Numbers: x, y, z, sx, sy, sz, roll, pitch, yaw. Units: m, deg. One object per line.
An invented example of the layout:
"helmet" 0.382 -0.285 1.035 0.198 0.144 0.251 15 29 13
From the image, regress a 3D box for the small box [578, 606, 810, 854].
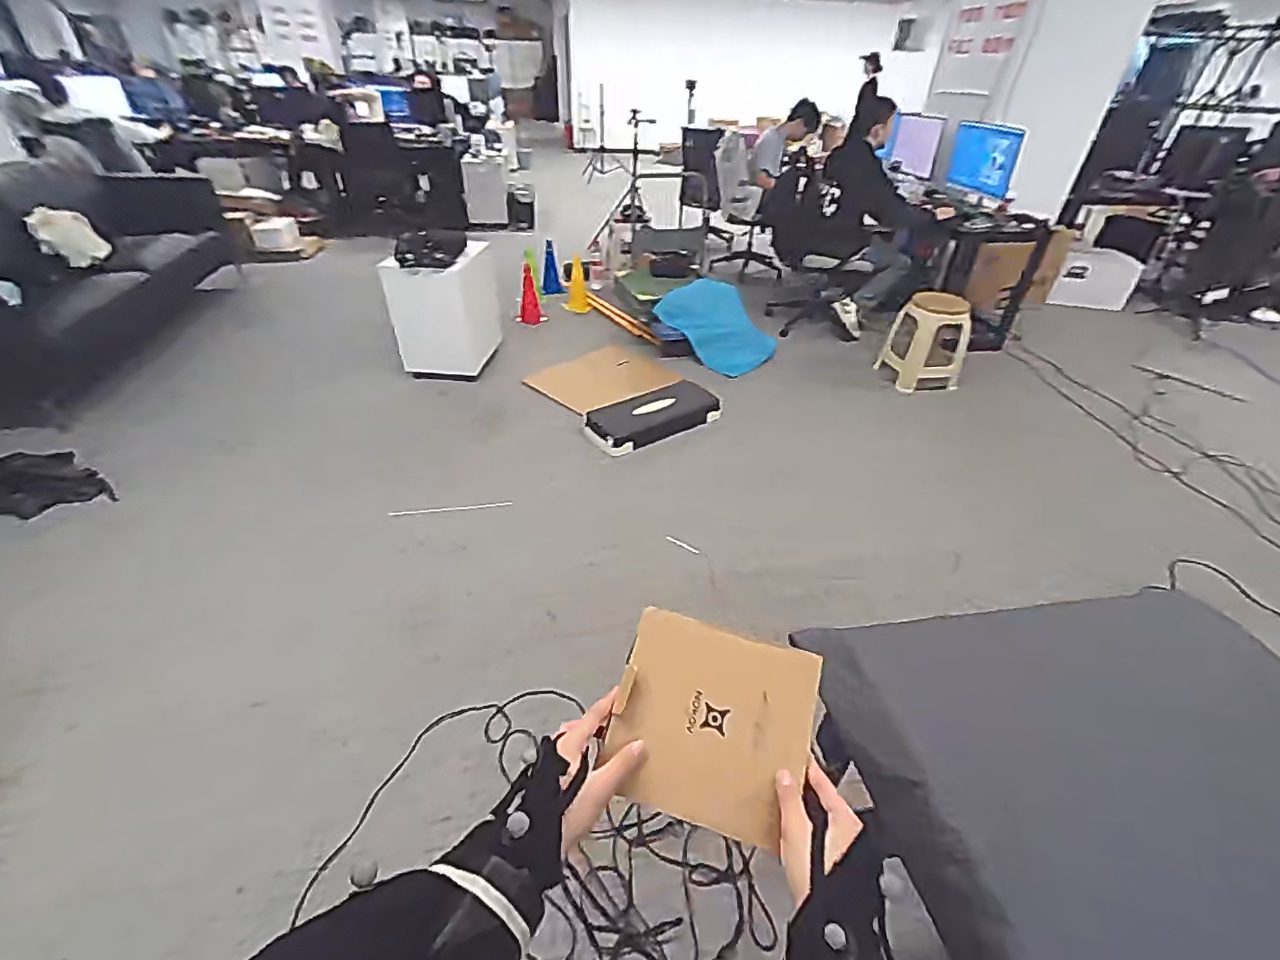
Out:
"small box" 0.055 0.249 0.544 0.179 0.176 0.168 13 62 9
